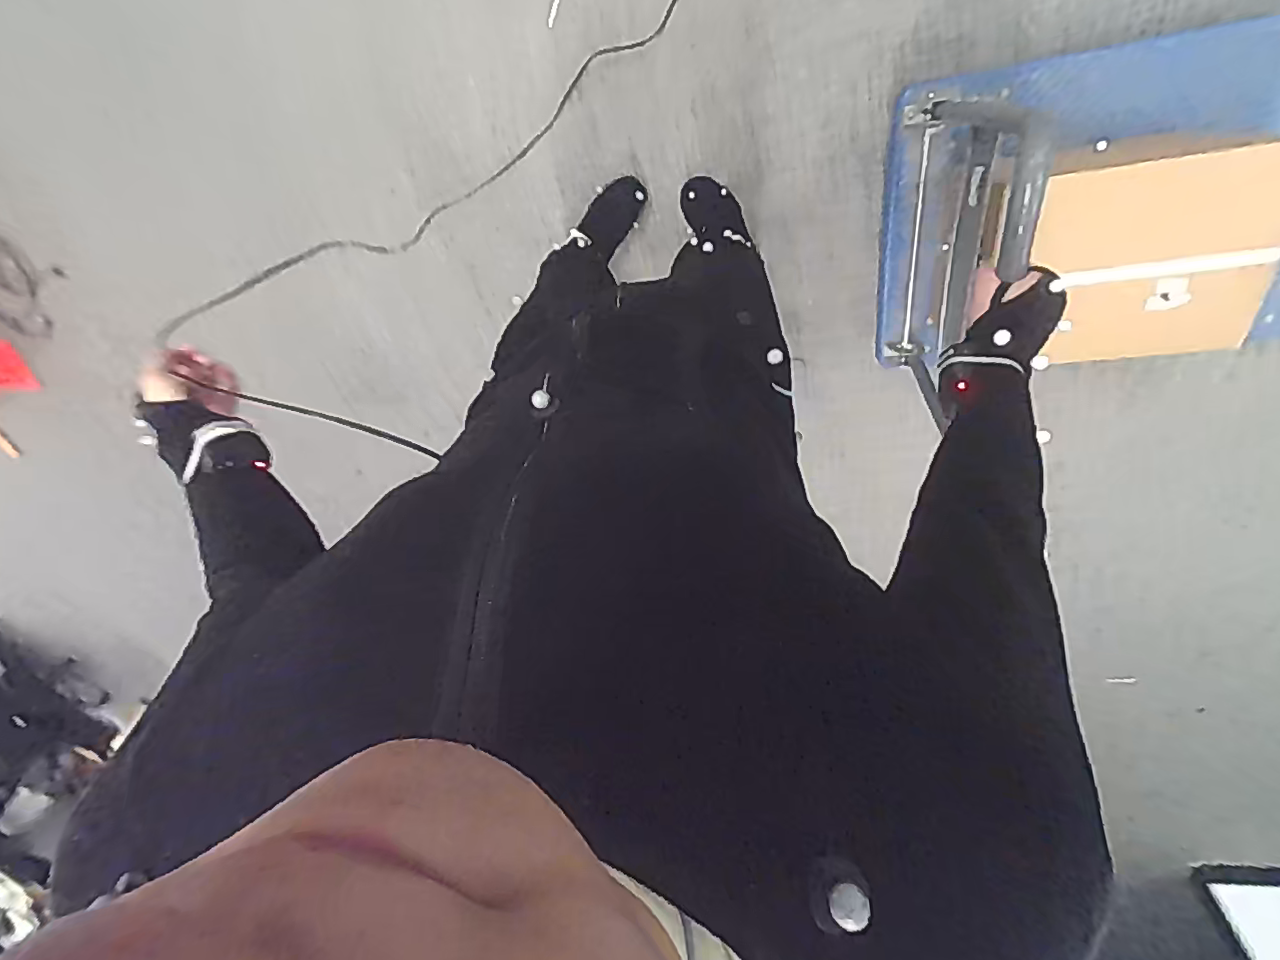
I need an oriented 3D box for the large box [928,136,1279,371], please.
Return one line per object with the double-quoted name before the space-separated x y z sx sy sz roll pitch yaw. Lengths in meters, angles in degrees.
"large box" 0.804 -0.425 1.010 0.408 0.320 0.320 -3 123 13
